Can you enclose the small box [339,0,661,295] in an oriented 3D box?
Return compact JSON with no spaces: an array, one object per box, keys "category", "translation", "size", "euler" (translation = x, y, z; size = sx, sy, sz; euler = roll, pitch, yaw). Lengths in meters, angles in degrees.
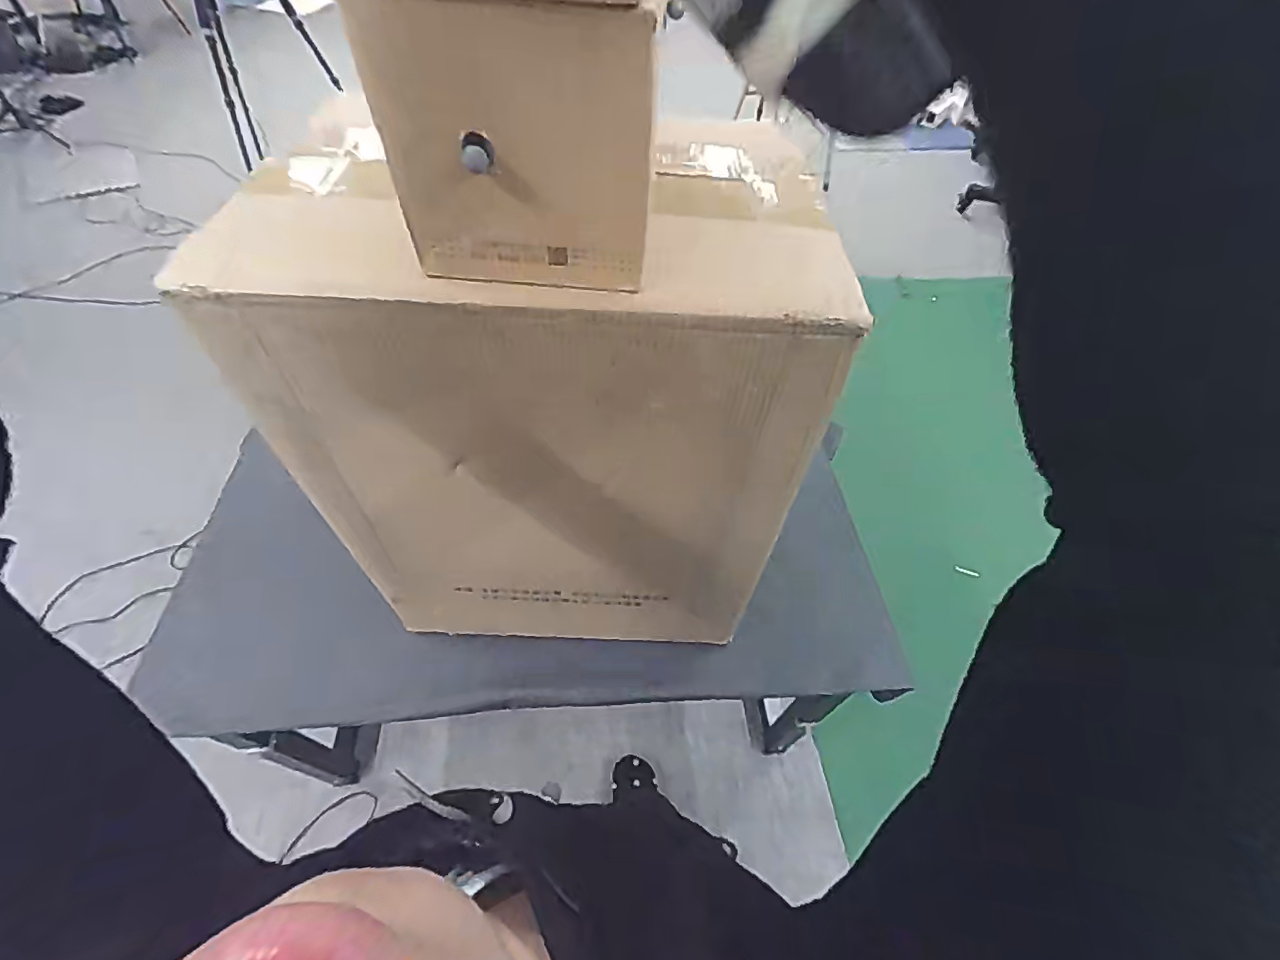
[{"category":"small box","translation":[-0.072,-0.255,0.390],"size":[0.168,0.176,0.179],"euler":[4,54,0]}]
